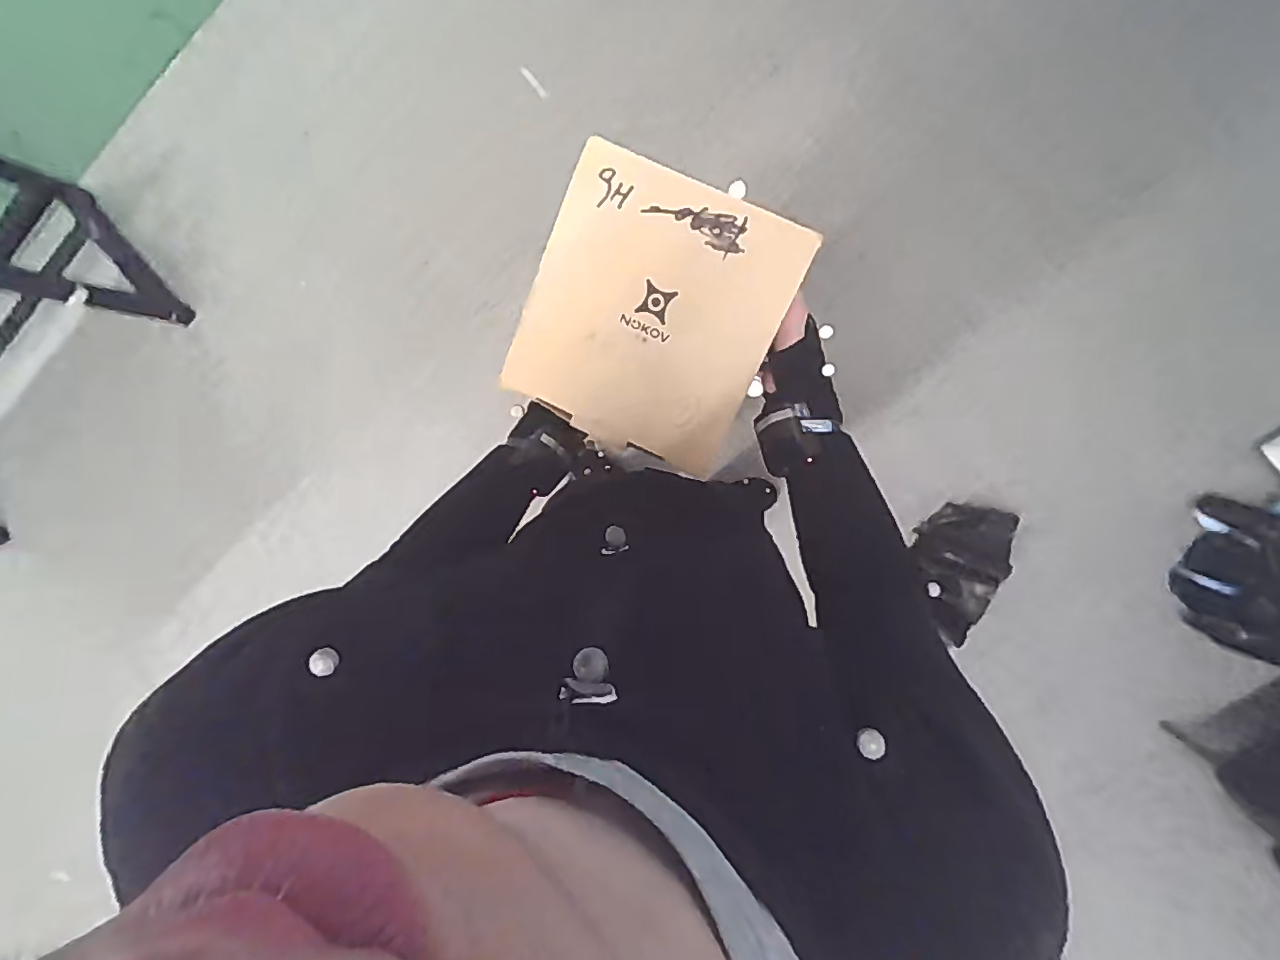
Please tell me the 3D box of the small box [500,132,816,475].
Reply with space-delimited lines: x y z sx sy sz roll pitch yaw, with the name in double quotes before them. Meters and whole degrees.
"small box" 0.018 -0.129 0.437 0.168 0.176 0.179 25 105 3
